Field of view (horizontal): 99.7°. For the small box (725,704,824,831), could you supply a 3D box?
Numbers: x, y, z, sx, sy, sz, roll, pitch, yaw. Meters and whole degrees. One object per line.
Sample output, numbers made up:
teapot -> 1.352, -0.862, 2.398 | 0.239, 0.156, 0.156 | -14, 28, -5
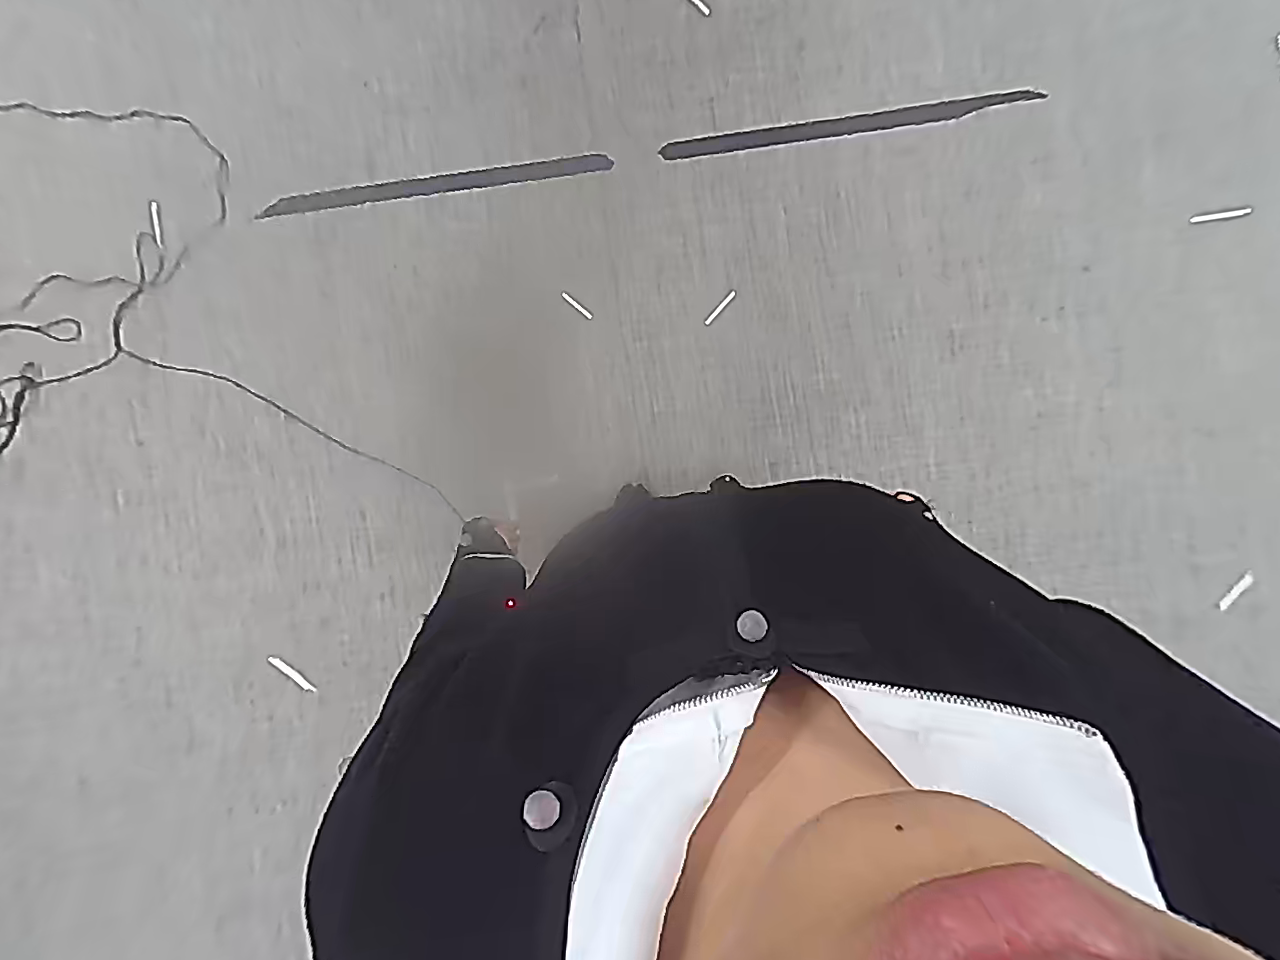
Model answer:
small box -> 0.279, 0.606, 1.154 | 0.168, 0.176, 0.179 | -8, 91, 2

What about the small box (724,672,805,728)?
small box -> 0.304, 0.592, 1.318 | 0.168, 0.176, 0.179 | -10, 90, 3
